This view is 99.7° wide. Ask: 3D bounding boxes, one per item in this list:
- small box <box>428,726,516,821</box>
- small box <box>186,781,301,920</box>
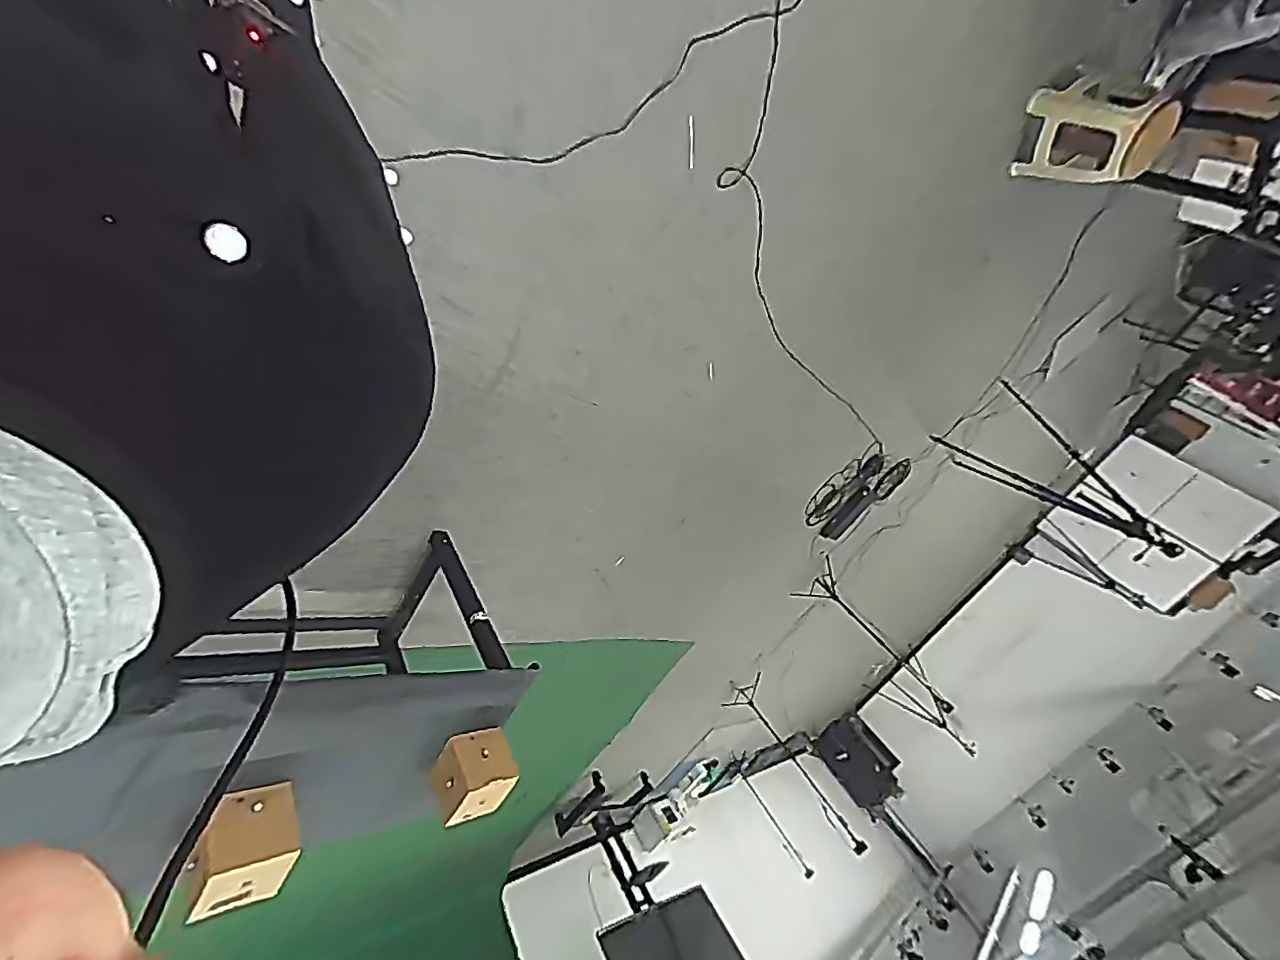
[{"bbox_3d":[-0.504,0.857,1.602,0.168,0.176,0.179,11,118,-47],"label":"small box"},{"bbox_3d":[-0.893,0.819,1.213,0.168,0.176,0.179,13,115,-48],"label":"small box"}]
